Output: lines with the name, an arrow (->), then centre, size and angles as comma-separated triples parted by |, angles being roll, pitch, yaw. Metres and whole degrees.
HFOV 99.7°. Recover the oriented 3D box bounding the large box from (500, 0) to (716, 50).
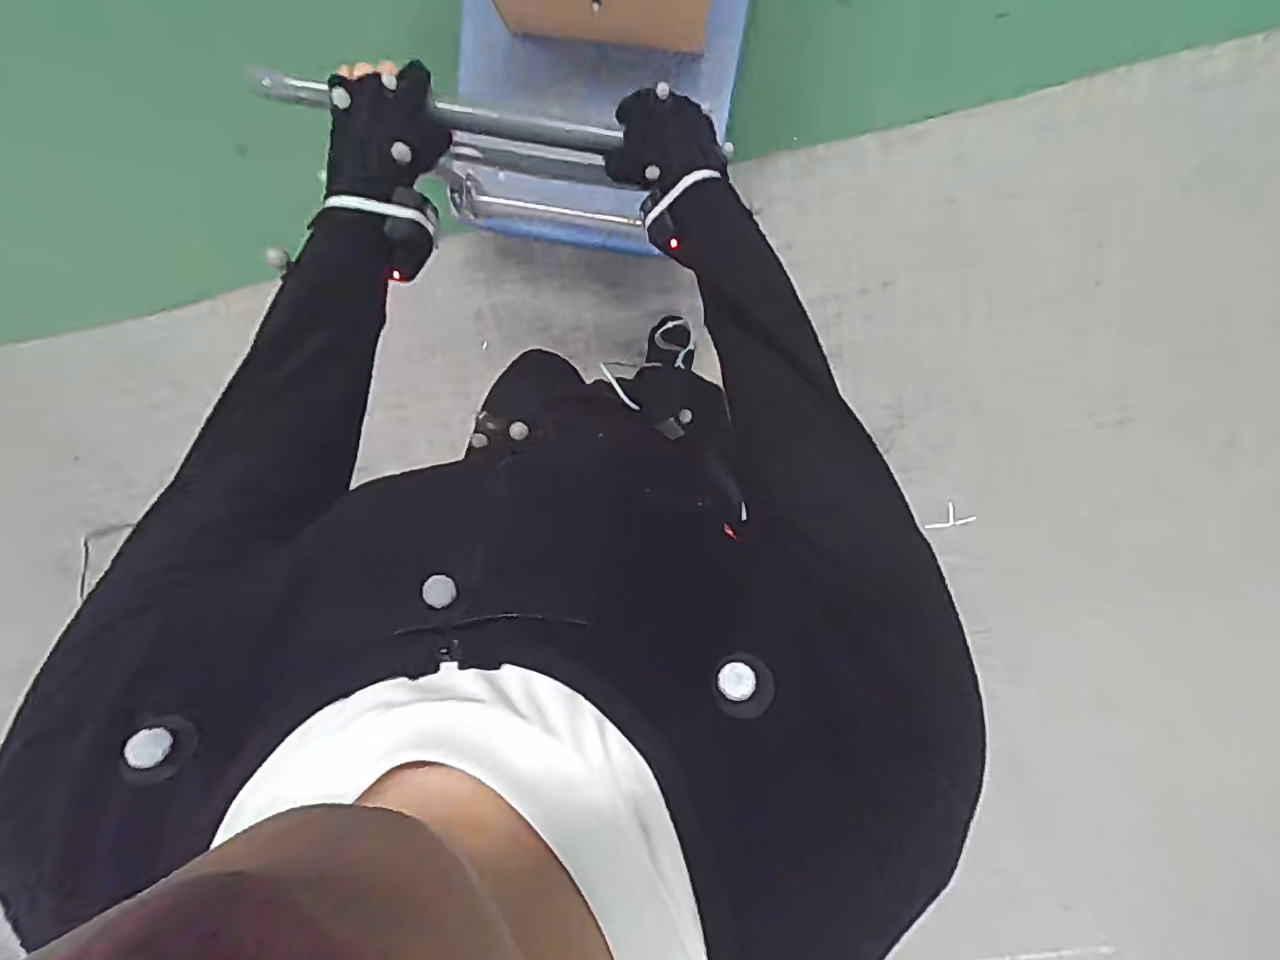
large box -> -0.053, -1.006, 0.929 | 0.408, 0.320, 0.320 | 7, 102, 3
